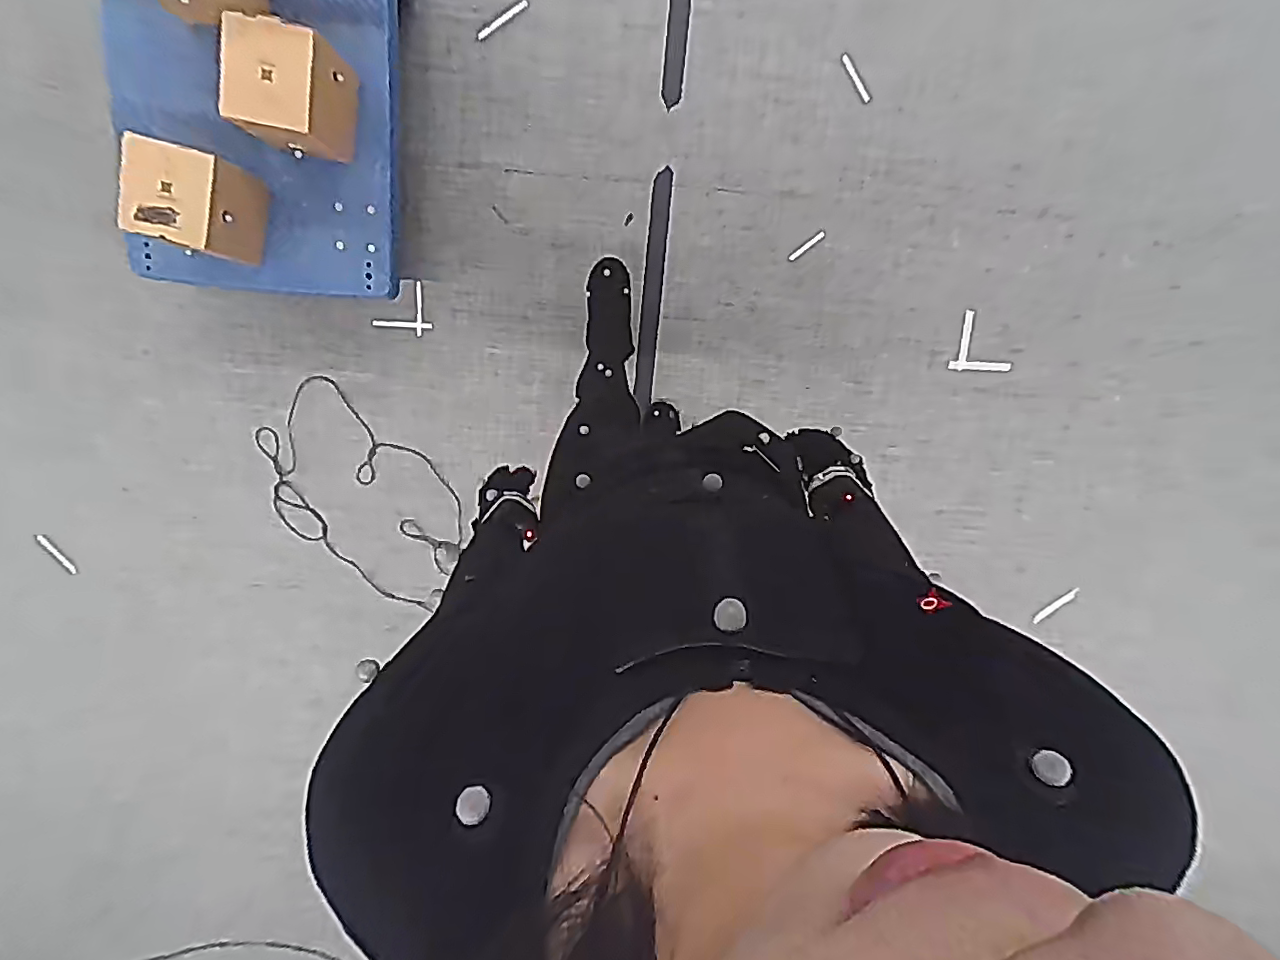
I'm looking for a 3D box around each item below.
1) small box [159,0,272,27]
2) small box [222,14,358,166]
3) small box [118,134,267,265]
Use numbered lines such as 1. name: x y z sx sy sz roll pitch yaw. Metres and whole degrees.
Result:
1. small box: -0.838 -0.989 1.014 0.179 0.176 0.168 1 102 -1
2. small box: -0.681 -0.757 1.068 0.168 0.176 0.179 10 103 -2
3. small box: -0.898 -0.556 1.101 0.168 0.176 0.179 14 100 -5
